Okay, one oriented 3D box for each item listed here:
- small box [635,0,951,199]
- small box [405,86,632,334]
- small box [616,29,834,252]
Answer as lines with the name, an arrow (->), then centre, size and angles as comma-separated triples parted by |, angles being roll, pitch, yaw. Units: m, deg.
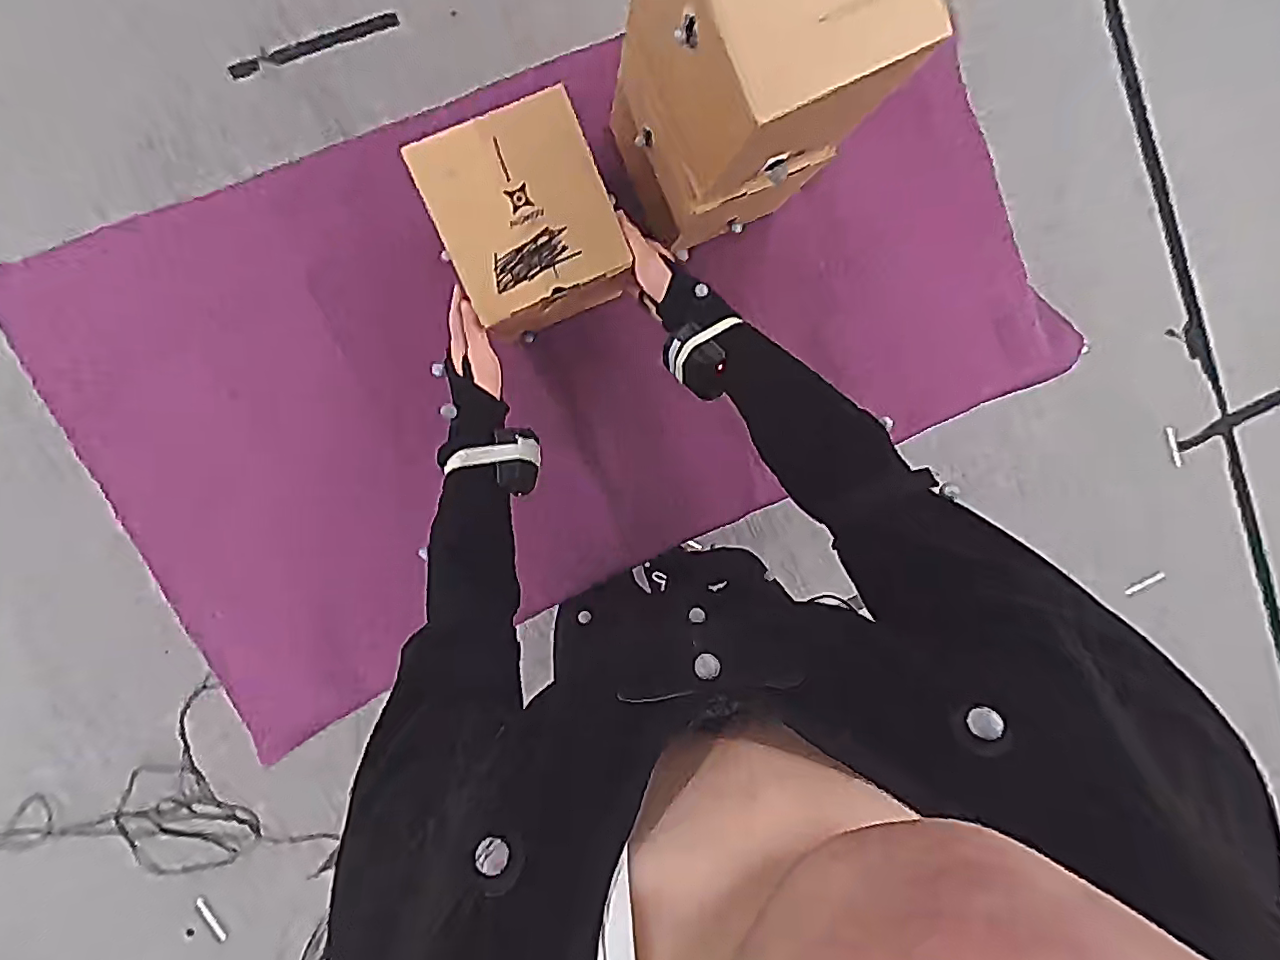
small box -> 0.108, -0.377, 0.453 | 0.168, 0.176, 0.179 | -27, 101, -3
small box -> -0.121, -0.273, 0.597 | 0.168, 0.176, 0.179 | -24, 100, -3
small box -> 0.082, -0.391, 0.613 | 0.168, 0.176, 0.179 | -25, 101, -3
